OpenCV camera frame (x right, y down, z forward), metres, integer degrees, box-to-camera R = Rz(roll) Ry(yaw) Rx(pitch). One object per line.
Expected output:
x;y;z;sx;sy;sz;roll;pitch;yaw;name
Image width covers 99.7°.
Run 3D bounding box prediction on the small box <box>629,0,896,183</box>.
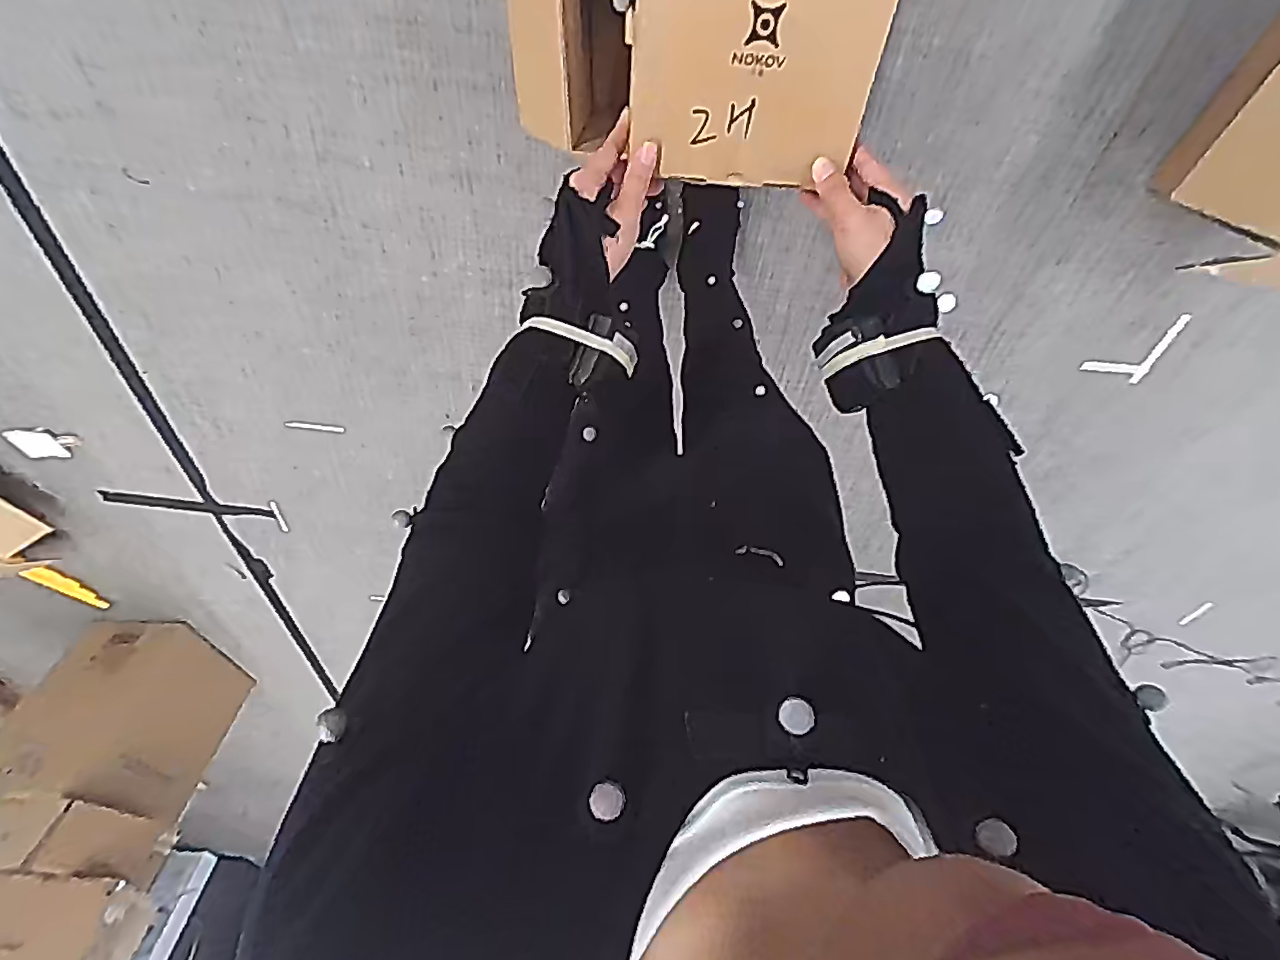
0.079;-0.351;0.408;0.168;0.176;0.179;3;136;-3;small box
